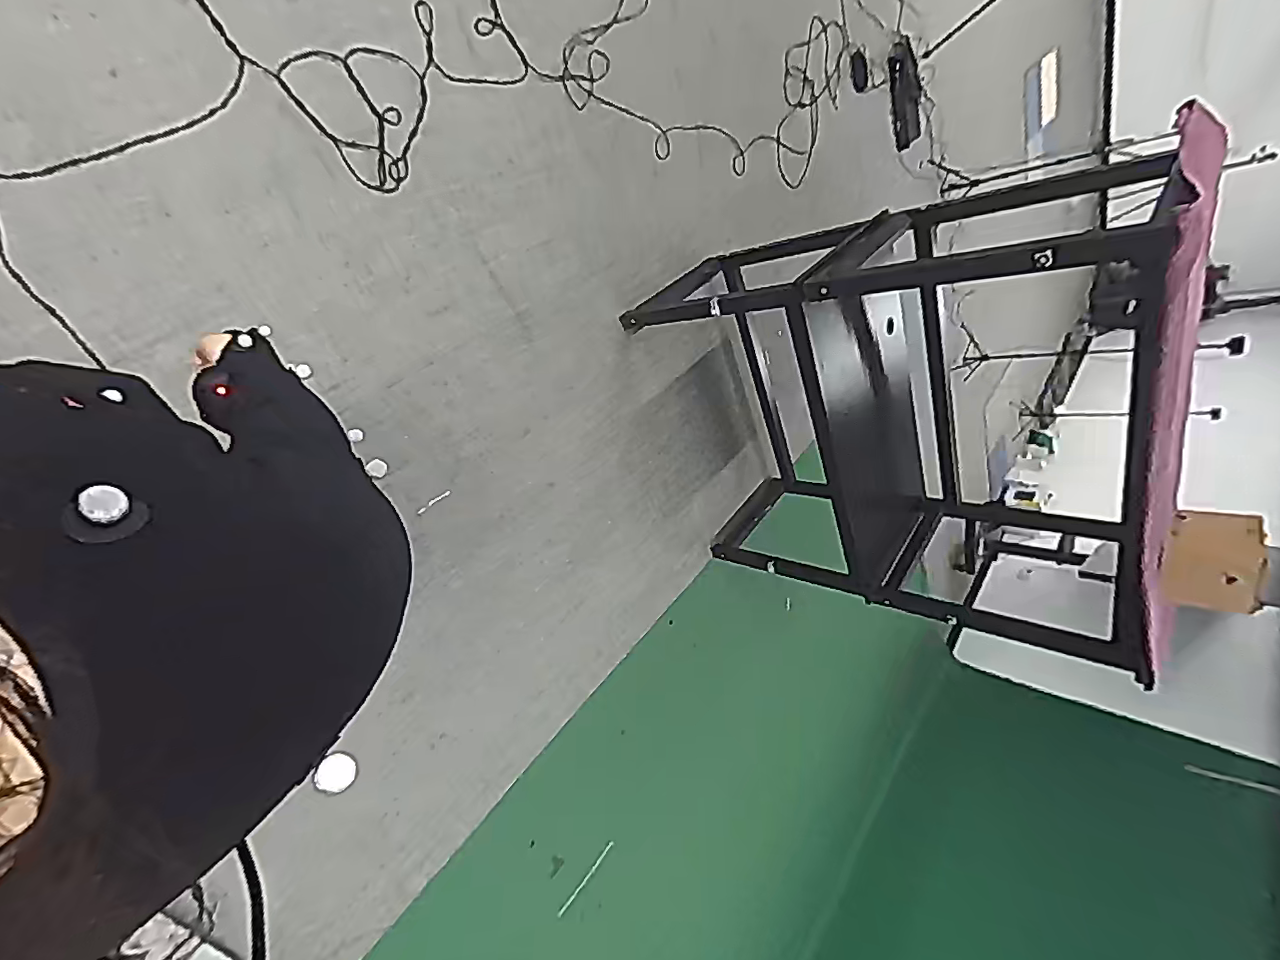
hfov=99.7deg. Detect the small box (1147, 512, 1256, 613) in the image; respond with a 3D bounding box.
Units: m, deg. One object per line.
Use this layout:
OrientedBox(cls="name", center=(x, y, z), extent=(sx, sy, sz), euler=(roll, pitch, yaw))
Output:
OrientedBox(cls="small box", center=(1.366, 0.192, 1.323), extent=(0.168, 0.176, 0.179), euler=(-42, 124, -33))
